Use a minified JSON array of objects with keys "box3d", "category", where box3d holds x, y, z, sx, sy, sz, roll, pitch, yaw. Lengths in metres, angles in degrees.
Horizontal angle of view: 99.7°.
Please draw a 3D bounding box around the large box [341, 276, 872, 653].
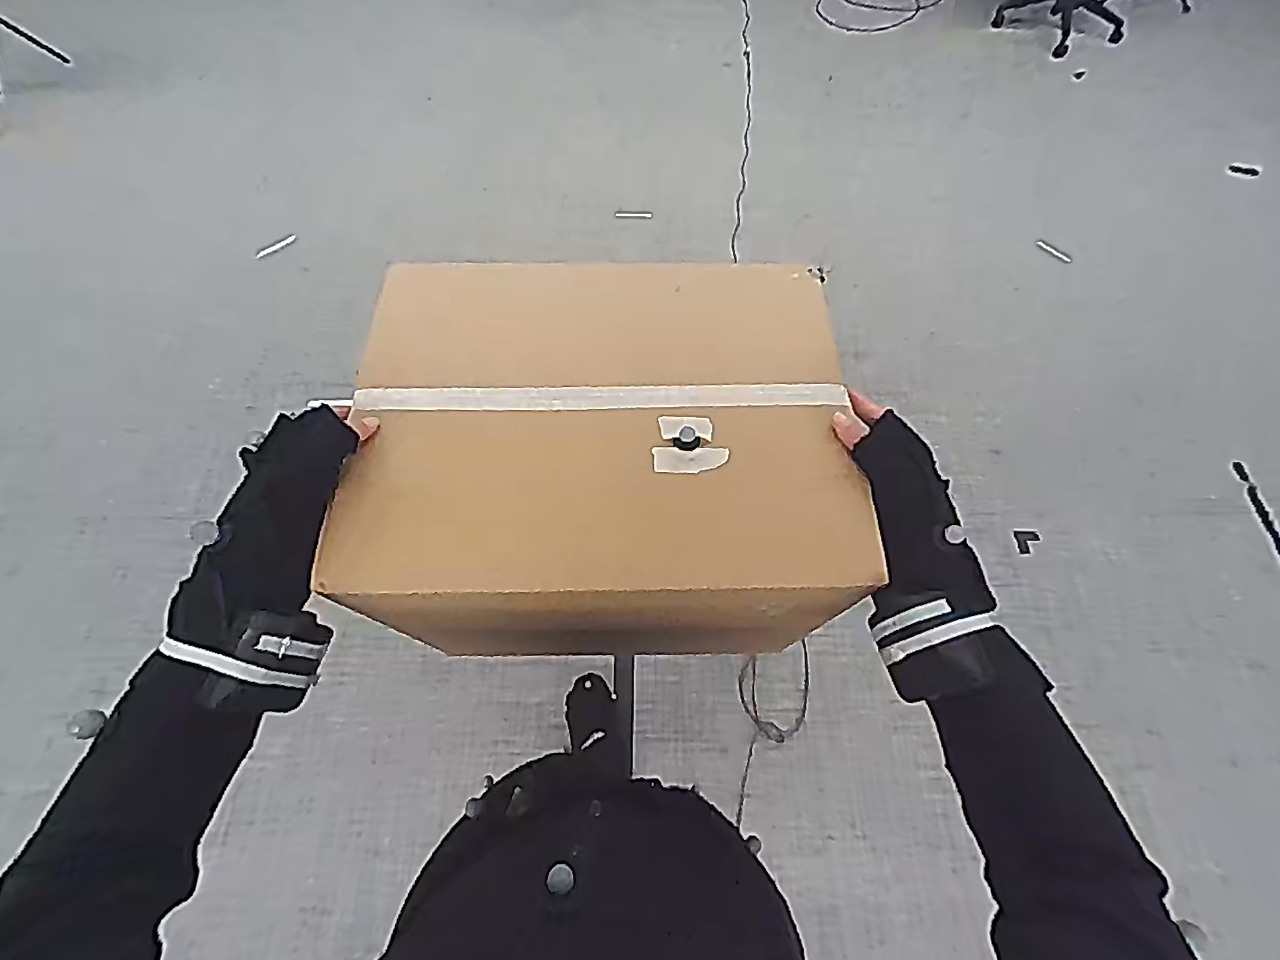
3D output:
[{"box3d":[-0.030,0.003,0.598,0.408,0.320,0.320,0,64,-1],"category":"large box"}]
